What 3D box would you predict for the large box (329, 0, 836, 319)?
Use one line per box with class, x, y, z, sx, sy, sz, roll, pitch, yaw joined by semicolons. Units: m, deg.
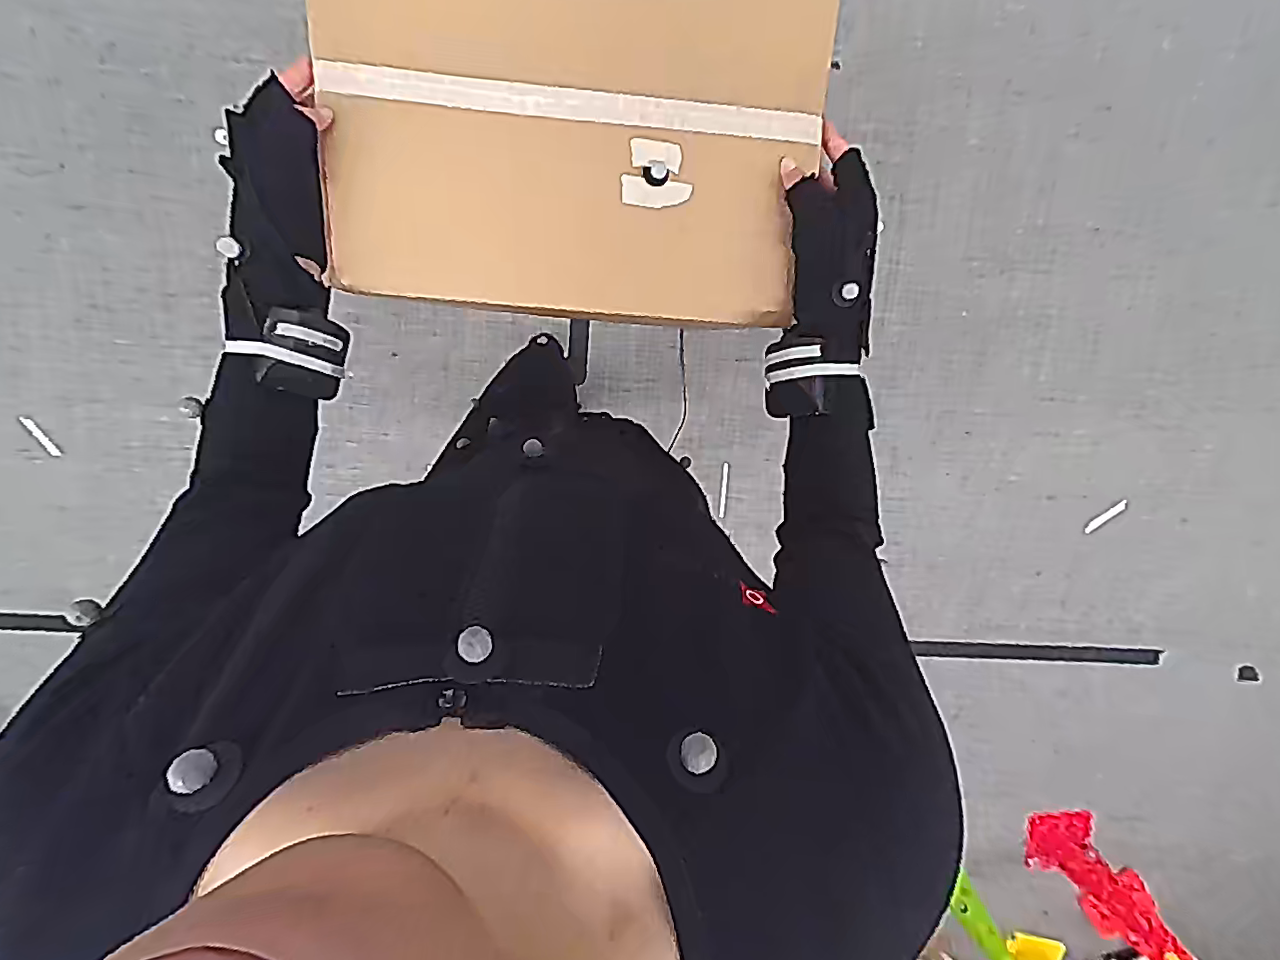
large box;-0.057;-0.348;0.583;0.408;0.320;0.320;3;106;-6
